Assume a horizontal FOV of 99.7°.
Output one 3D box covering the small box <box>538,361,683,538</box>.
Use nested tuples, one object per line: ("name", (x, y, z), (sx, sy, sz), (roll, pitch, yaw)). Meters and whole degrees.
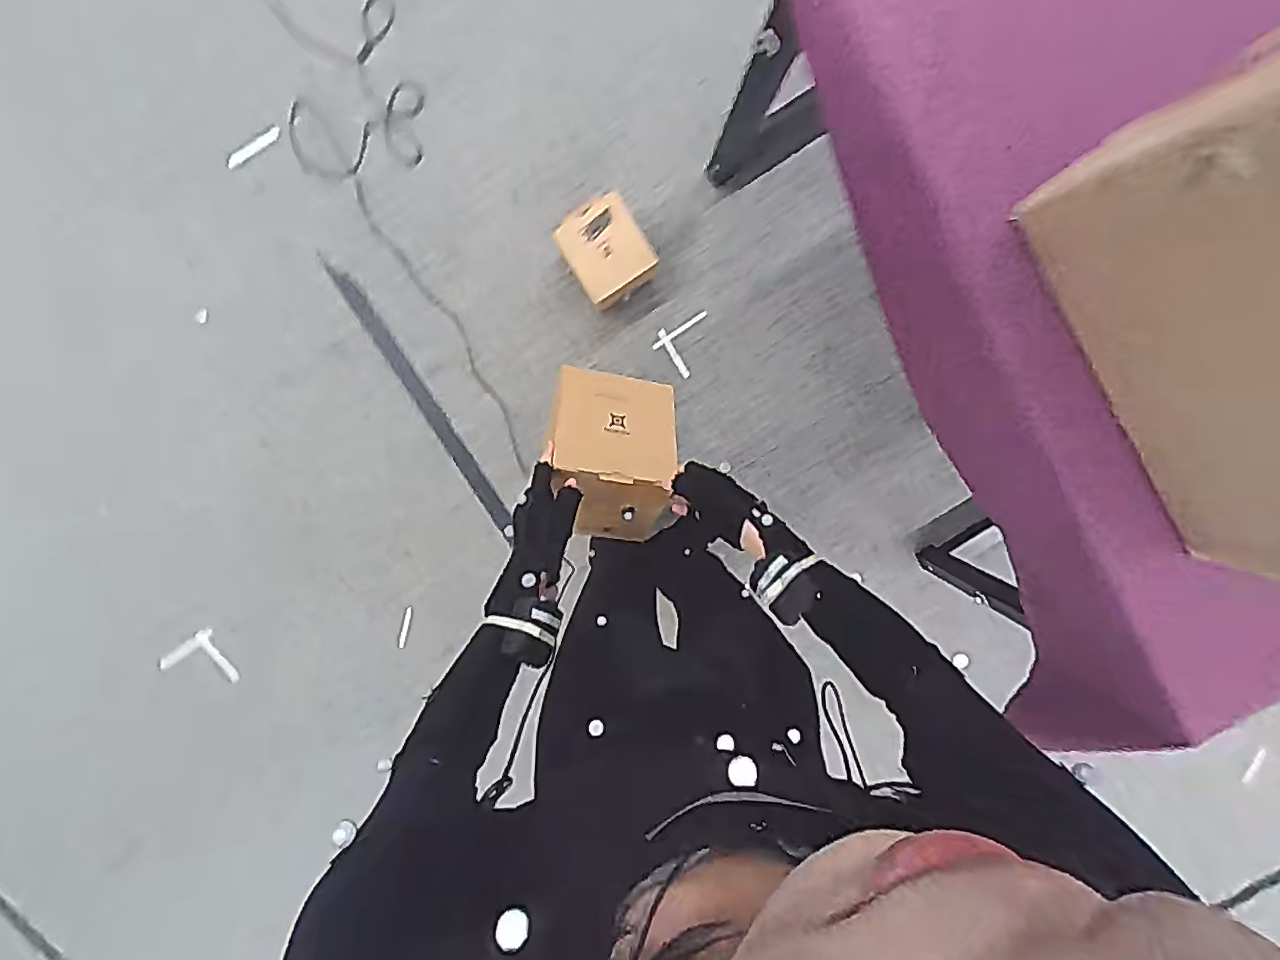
("small box", (-0.046, -0.034, 0.768), (0.168, 0.176, 0.179), (10, 55, -15))

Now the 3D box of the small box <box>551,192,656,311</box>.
("small box", (-0.083, -0.511, 1.241), (0.168, 0.176, 0.179), (-33, 100, 3))
